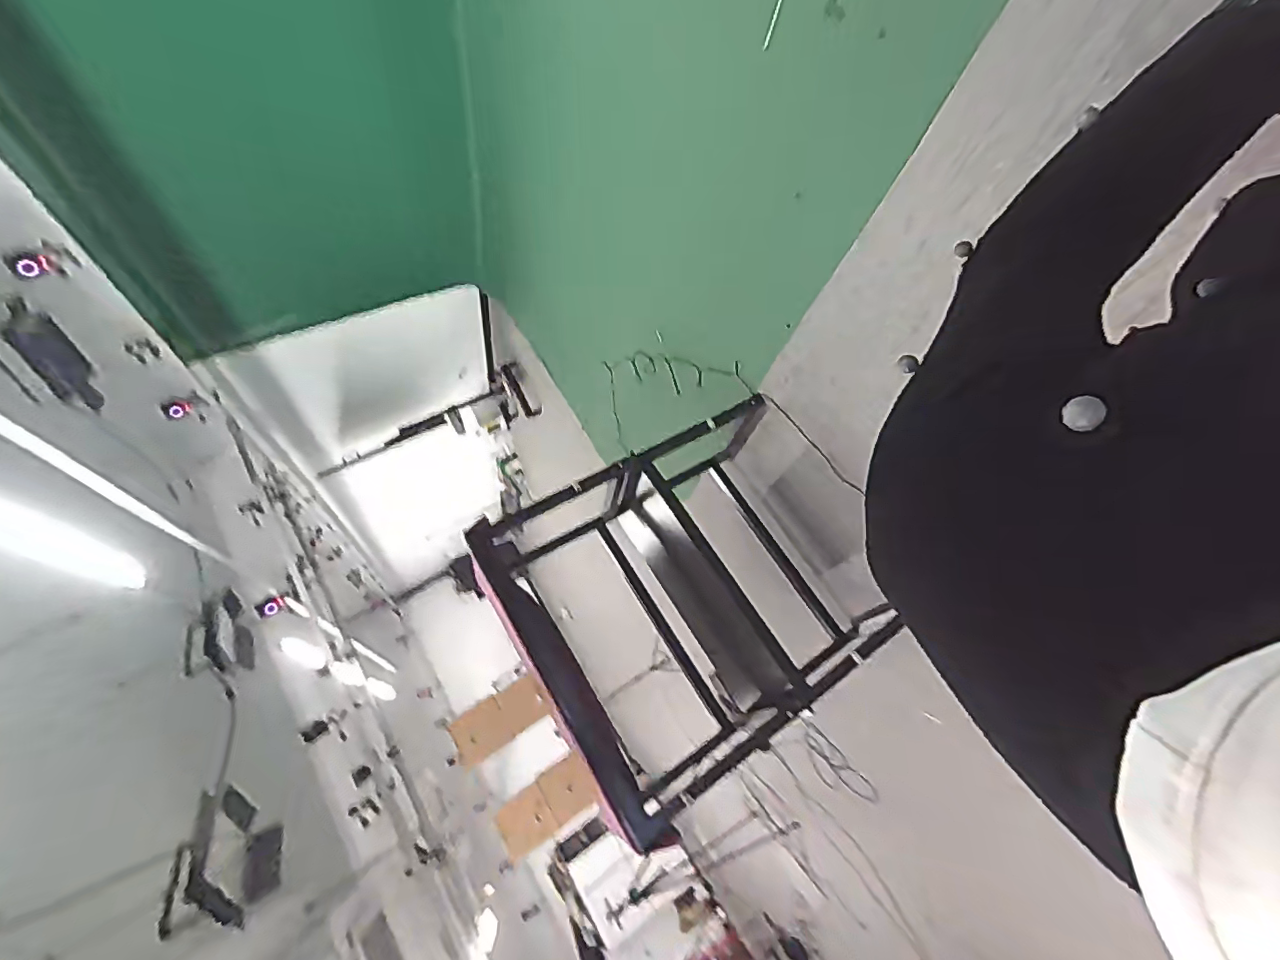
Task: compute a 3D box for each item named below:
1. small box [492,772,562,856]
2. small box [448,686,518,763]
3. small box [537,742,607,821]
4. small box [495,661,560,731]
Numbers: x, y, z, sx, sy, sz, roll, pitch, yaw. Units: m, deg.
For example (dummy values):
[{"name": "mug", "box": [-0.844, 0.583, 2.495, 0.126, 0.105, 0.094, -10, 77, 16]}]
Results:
[{"name": "small box", "box": [-0.367, 1.087, 1.777, 0.168, 0.176, 0.179, 56, 157, 17]}, {"name": "small box", "box": [-0.528, 0.834, 1.850, 0.179, 0.176, 0.168, 55, 157, 14]}, {"name": "small box", "box": [-0.233, 1.010, 1.830, 0.179, 0.176, 0.168, 56, 157, 16]}, {"name": "small box", "box": [-0.395, 0.762, 1.915, 0.168, 0.176, 0.179, 56, 157, 14]}]
